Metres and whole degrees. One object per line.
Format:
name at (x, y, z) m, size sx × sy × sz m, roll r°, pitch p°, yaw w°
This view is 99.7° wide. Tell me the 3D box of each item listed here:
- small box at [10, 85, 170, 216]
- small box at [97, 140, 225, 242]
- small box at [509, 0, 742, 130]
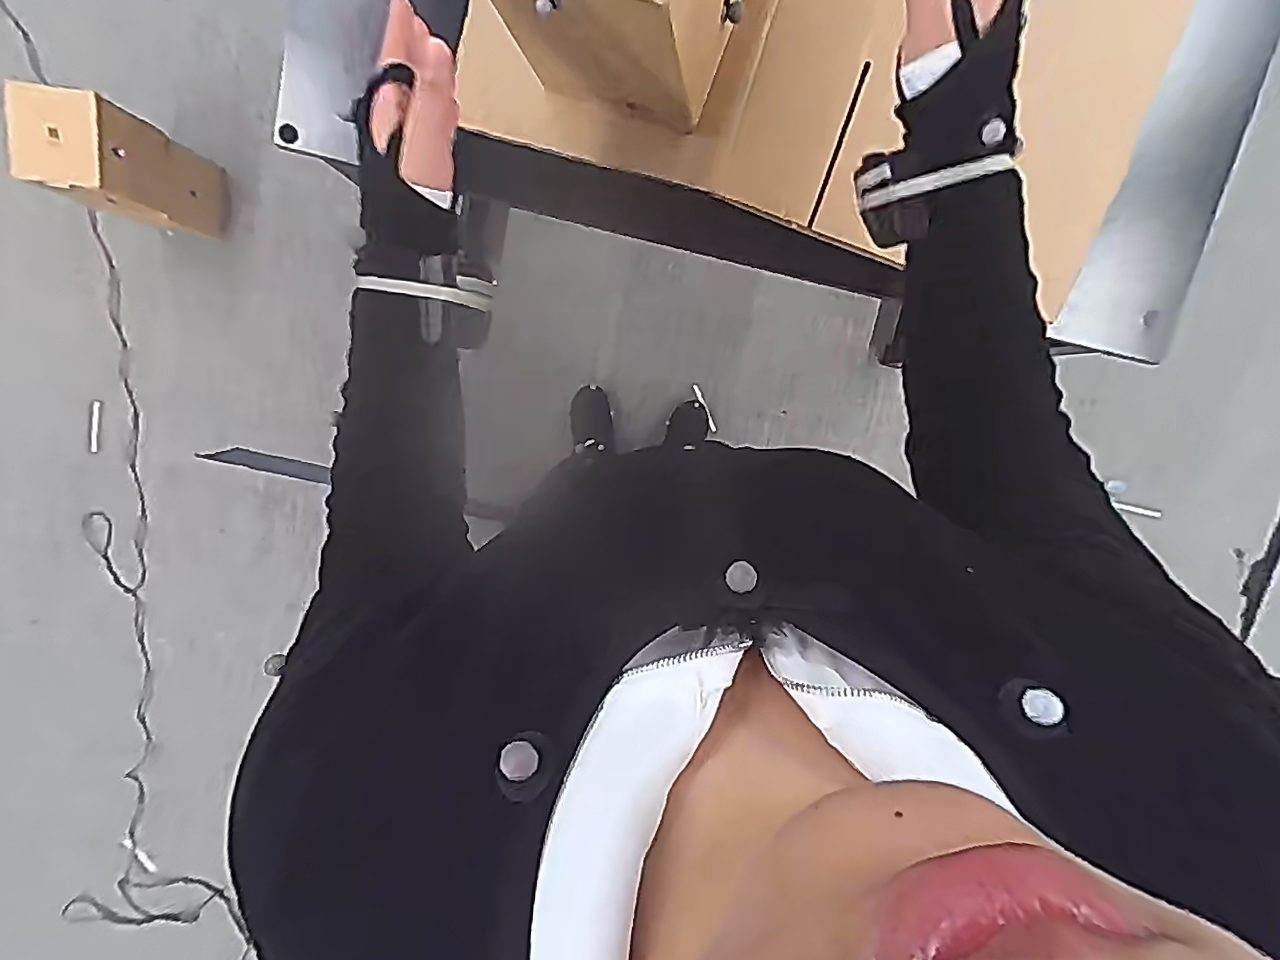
small box at (-1.119, -0.666, 1.116) m, size 0.168 × 0.176 × 0.179 m, roll 5°, pitch 98°, yaw -3°
small box at (-1.123, -0.687, 1.277) m, size 0.168 × 0.176 × 0.179 m, roll 8°, pitch 100°, yaw -3°
small box at (-0.007, -0.439, 0.445) m, size 0.168 × 0.176 × 0.179 m, roll 23°, pitch 99°, yaw 9°
